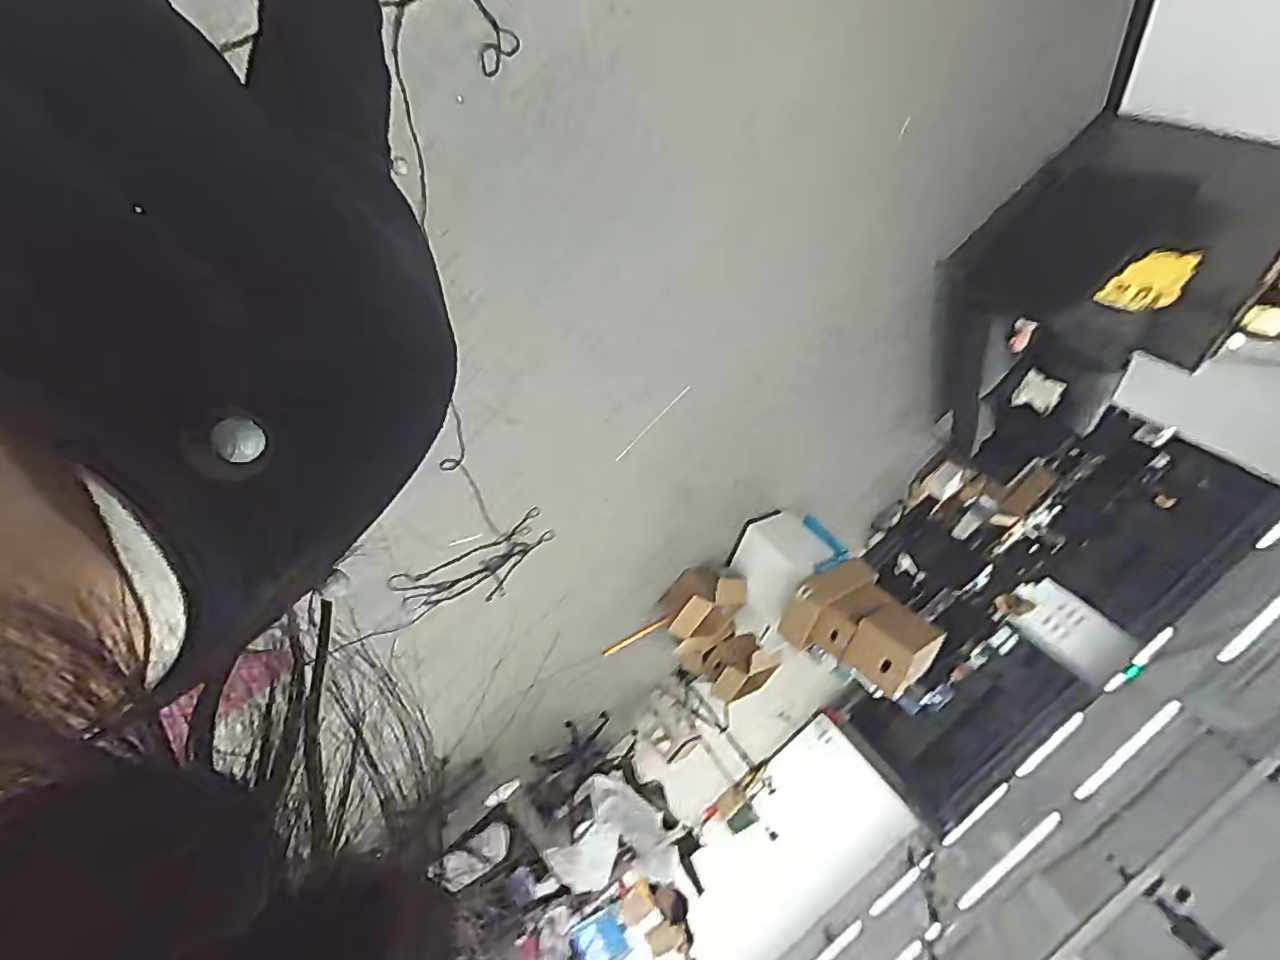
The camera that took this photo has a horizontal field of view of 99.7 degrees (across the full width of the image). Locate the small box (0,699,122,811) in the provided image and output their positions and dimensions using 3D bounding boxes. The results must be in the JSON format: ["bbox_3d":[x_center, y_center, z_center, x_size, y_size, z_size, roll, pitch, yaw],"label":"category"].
[{"bbox_3d":[-0.873,0.436,0.750,0.179,0.176,0.168,-45,146,1],"label":"small box"}]
